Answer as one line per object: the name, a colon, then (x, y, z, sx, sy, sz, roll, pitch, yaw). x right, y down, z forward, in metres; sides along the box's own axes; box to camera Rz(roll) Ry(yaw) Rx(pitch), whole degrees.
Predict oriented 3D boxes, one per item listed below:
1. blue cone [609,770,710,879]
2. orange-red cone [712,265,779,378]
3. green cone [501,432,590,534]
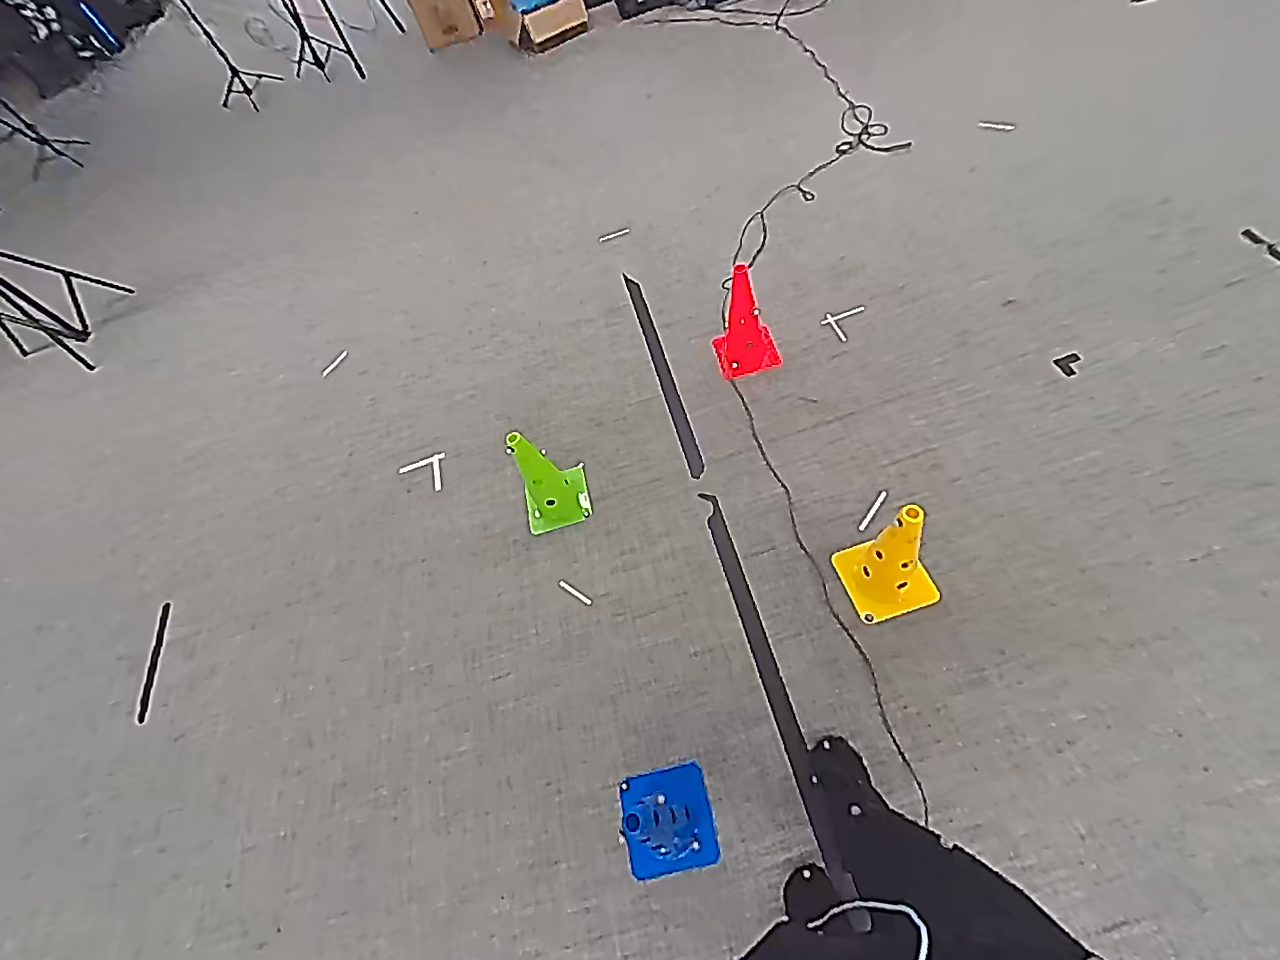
blue cone: (0.016, 0.683, 1.074, 0.192, 0.380, 0.193, -15, 57, 6)
orange-red cone: (0.325, -0.524, 1.711, 0.199, 0.360, 0.198, -13, 59, 5)
green cone: (-0.302, -0.026, 1.566, 0.202, 0.368, 0.200, -19, 57, 4)
